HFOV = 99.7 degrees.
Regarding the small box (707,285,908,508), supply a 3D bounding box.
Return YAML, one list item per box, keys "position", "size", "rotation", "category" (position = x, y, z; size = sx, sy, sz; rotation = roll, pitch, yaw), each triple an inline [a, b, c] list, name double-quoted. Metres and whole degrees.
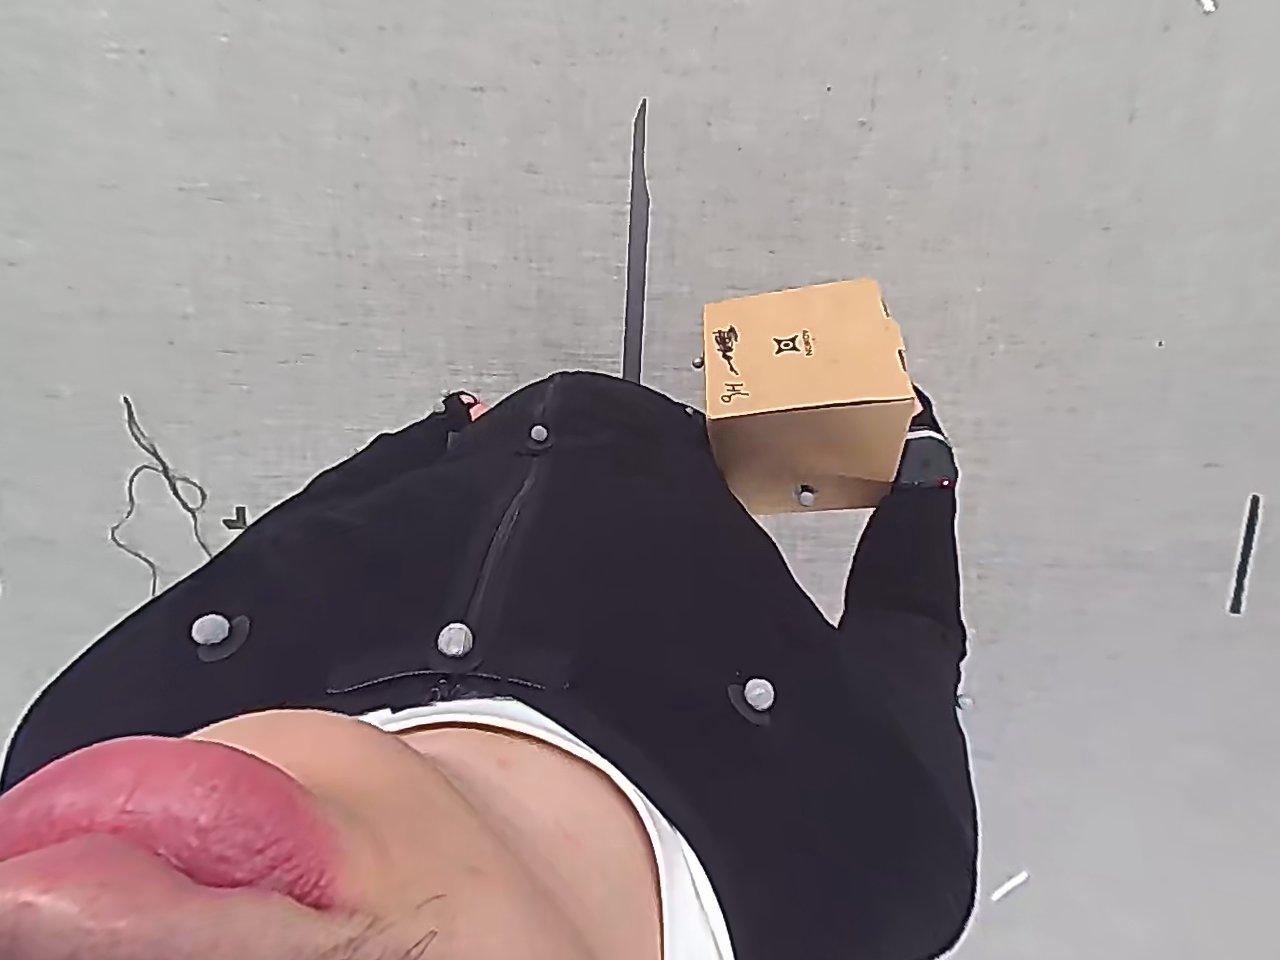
- position: [0.168, -0.083, 0.592]
  size: [0.179, 0.168, 0.176]
  rotation: [-5, 143, 11]
  category: "small box"
